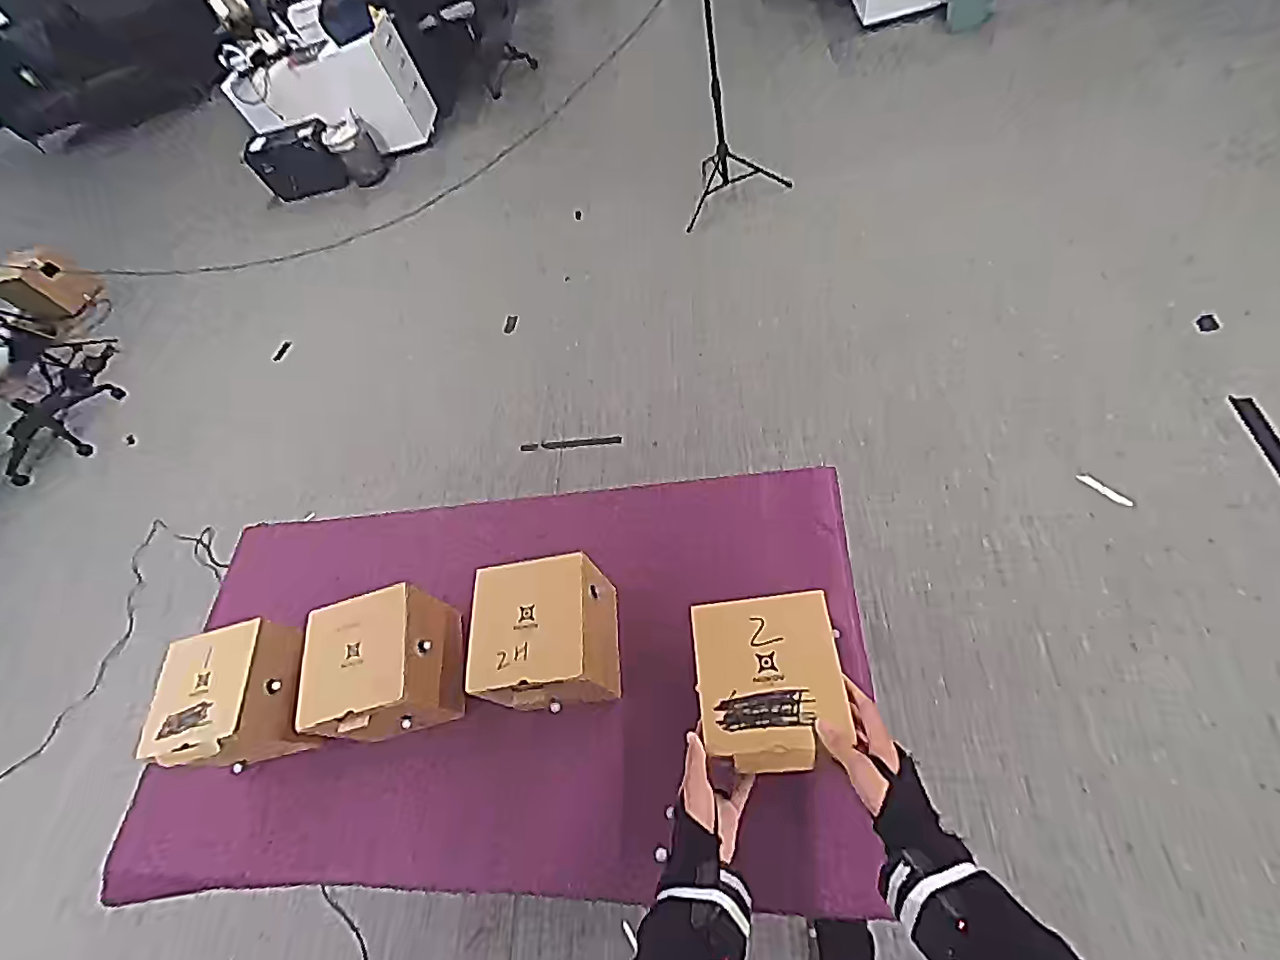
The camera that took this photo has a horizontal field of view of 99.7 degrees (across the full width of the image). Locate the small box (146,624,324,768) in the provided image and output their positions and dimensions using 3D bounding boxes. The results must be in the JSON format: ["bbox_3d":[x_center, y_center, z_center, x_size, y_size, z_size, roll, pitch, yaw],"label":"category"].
[{"bbox_3d":[-0.628,0.357,0.878,0.168,0.176,0.179,-16,56,6],"label":"small box"}]

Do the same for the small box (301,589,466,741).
[{"bbox_3d":[-0.386,0.297,0.845,0.168,0.176,0.179,-17,57,5],"label":"small box"}]

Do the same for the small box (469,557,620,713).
[{"bbox_3d":[-0.131,0.236,0.804,0.168,0.176,0.179,-11,58,10],"label":"small box"}]
